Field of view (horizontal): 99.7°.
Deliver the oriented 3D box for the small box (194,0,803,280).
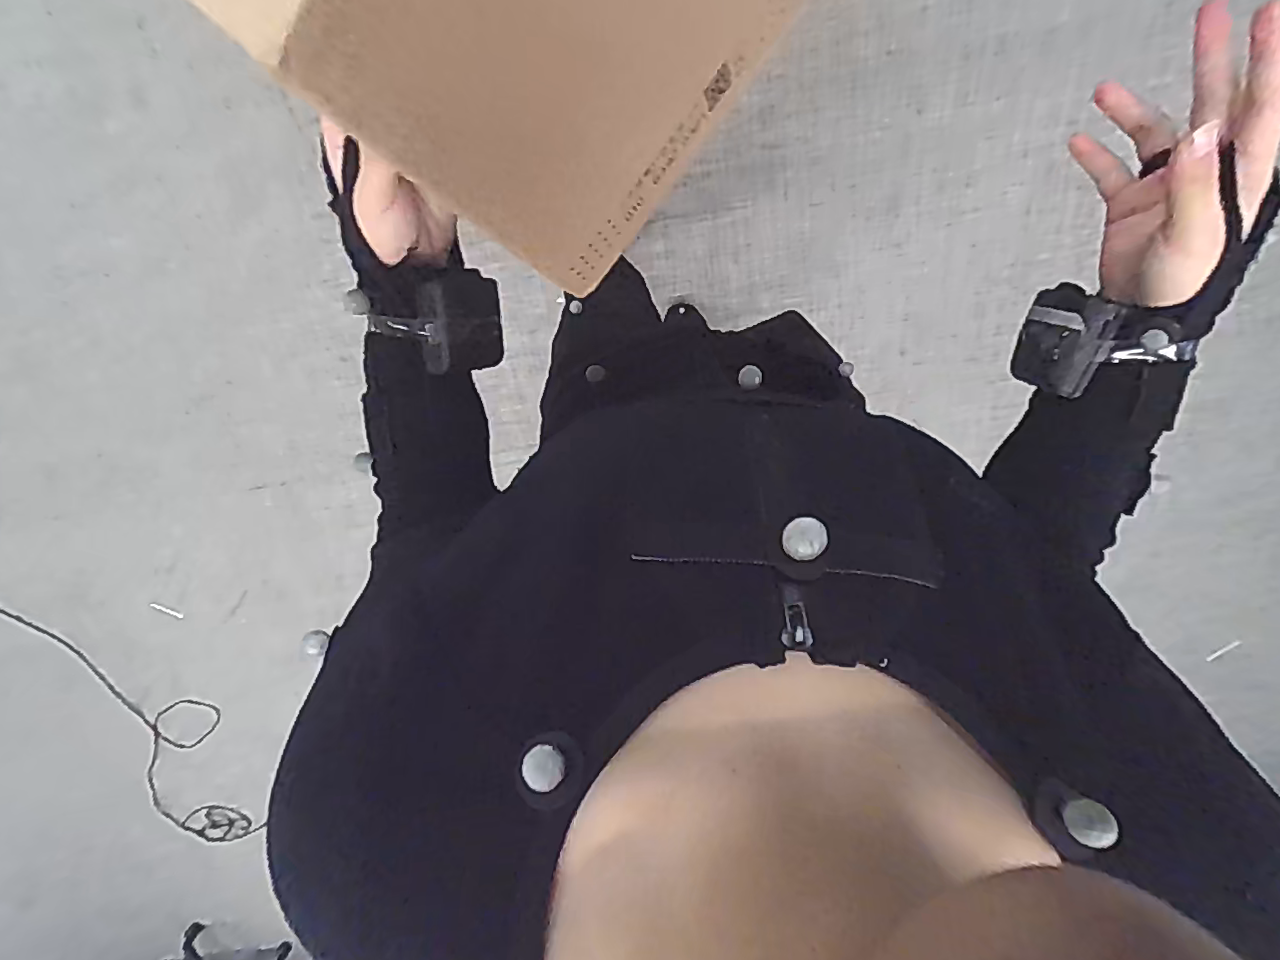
[{"bbox_3d":[-0.059,-0.203,0.196,0.179,0.176,0.168,42,104,11],"label":"small box"}]
